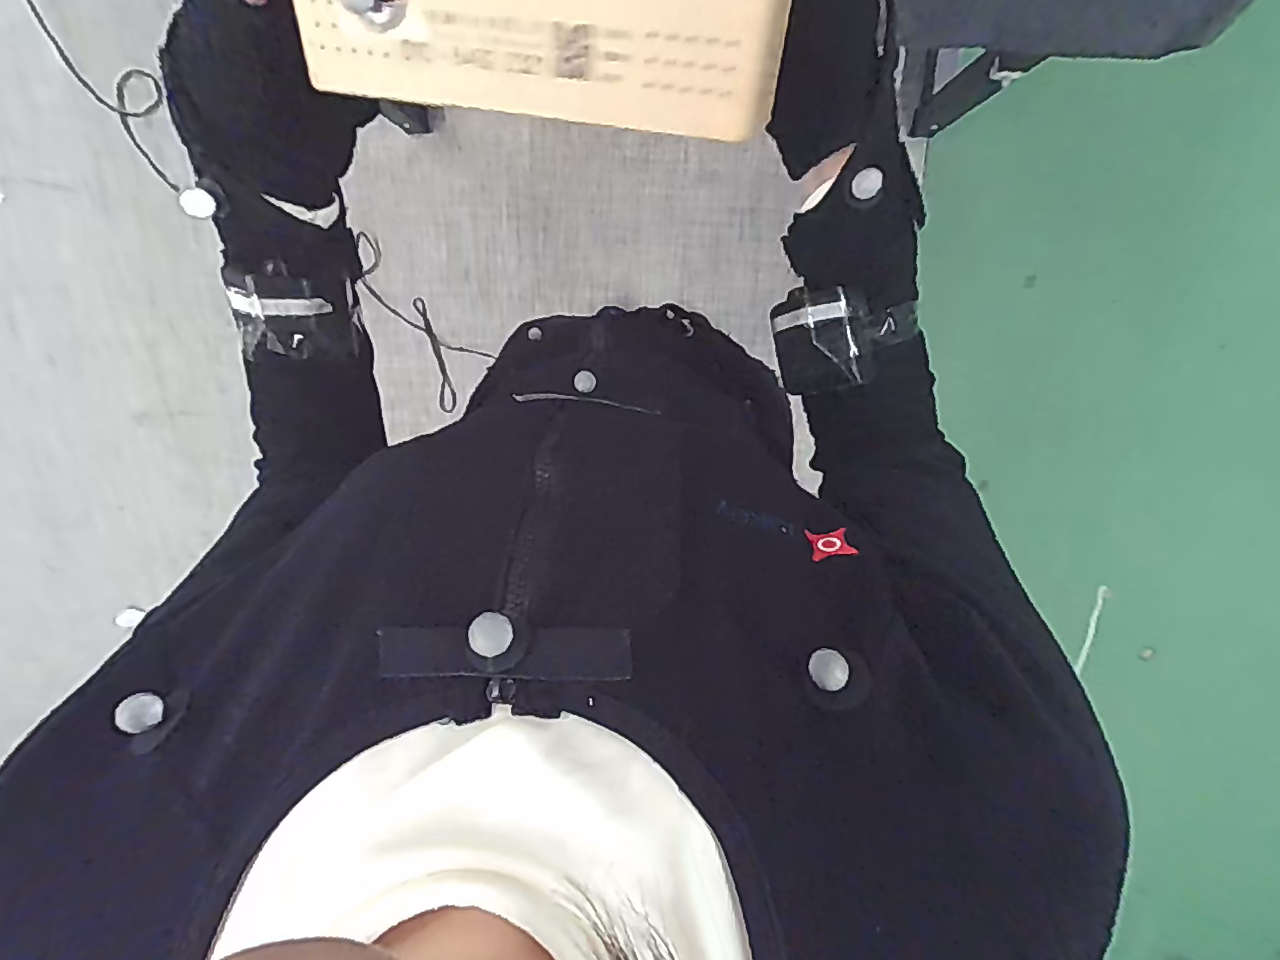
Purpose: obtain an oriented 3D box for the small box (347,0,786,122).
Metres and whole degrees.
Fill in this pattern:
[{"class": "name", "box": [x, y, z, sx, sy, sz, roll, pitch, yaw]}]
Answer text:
[{"class": "small box", "box": [-0.015, -0.254, 0.219, 0.168, 0.179, 0.176, 11, 127, 6]}]
